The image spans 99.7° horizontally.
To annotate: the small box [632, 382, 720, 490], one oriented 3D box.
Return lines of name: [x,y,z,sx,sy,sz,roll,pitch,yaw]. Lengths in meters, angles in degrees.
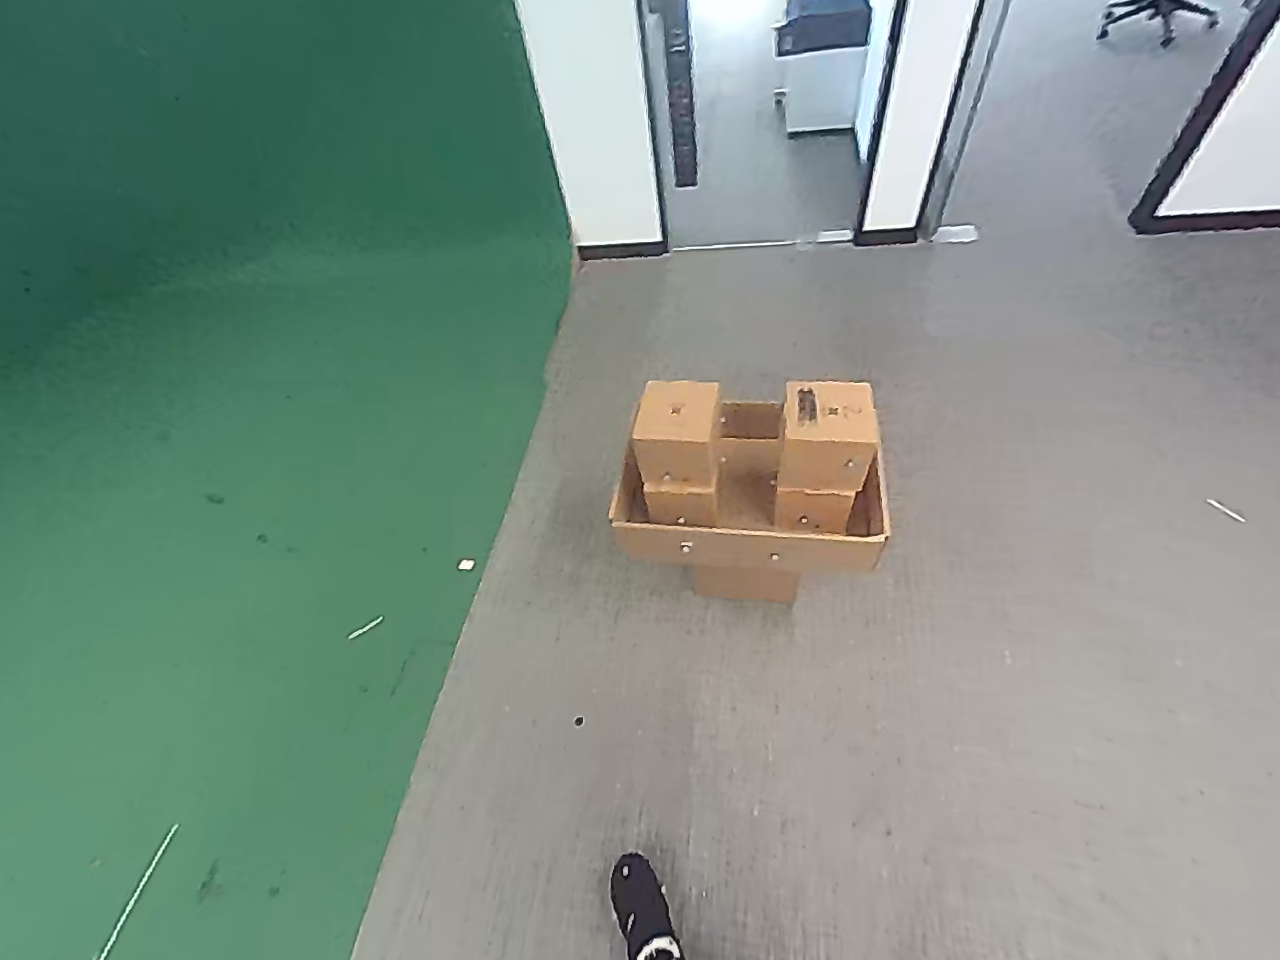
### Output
small box: [0.090,-0.101,1.233,0.168,0.176,0.179,4,54,14]
